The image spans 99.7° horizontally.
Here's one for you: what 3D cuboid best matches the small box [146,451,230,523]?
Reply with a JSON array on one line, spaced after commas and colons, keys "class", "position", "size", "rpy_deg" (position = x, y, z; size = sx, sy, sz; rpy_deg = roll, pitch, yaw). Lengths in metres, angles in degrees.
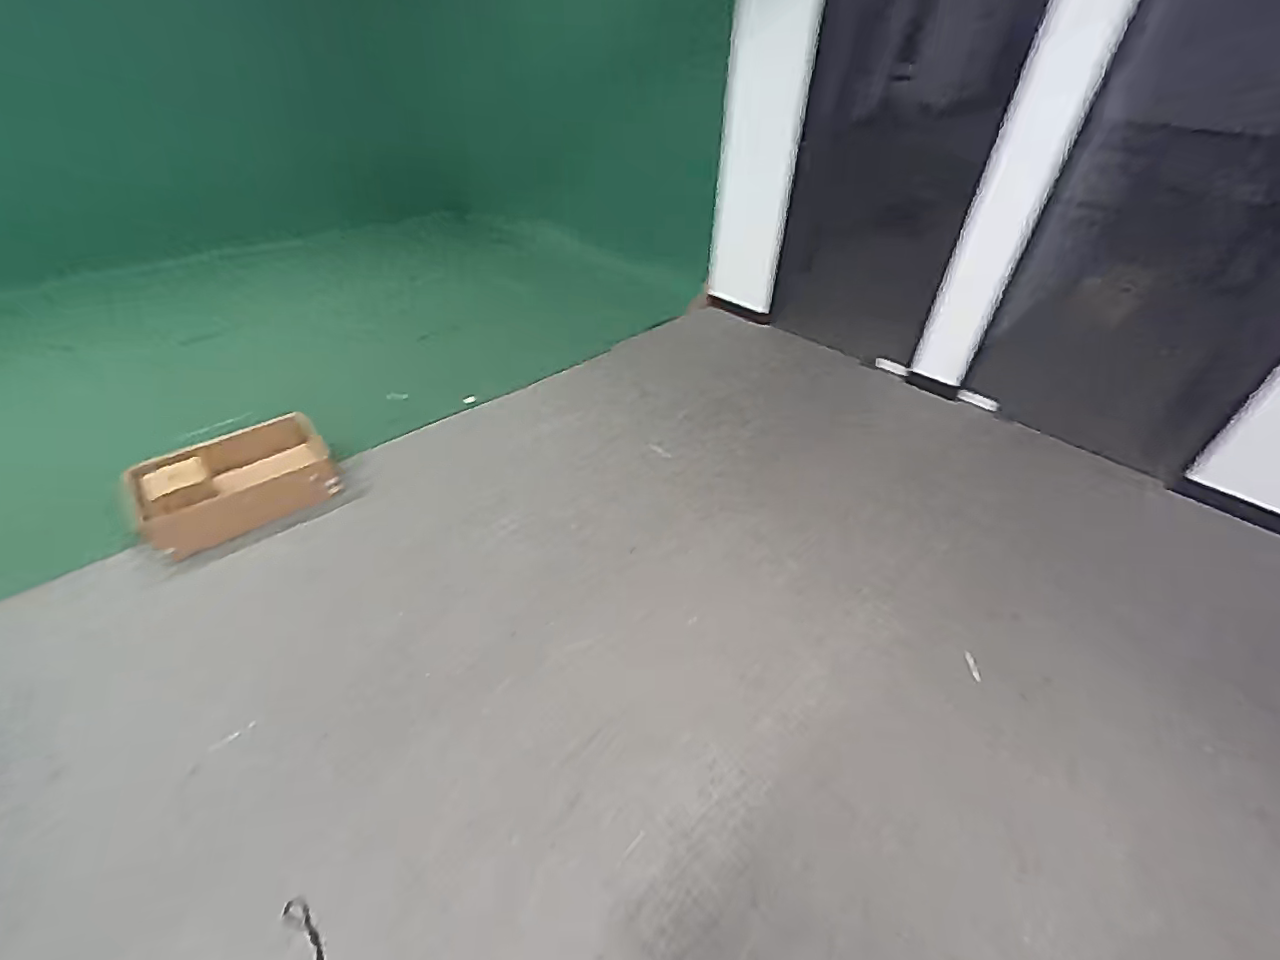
[{"class": "small box", "position": [-1.656, 0.029, 1.984], "size": [0.179, 0.176, 0.168], "rpy_deg": [-28, 50, -31]}]
